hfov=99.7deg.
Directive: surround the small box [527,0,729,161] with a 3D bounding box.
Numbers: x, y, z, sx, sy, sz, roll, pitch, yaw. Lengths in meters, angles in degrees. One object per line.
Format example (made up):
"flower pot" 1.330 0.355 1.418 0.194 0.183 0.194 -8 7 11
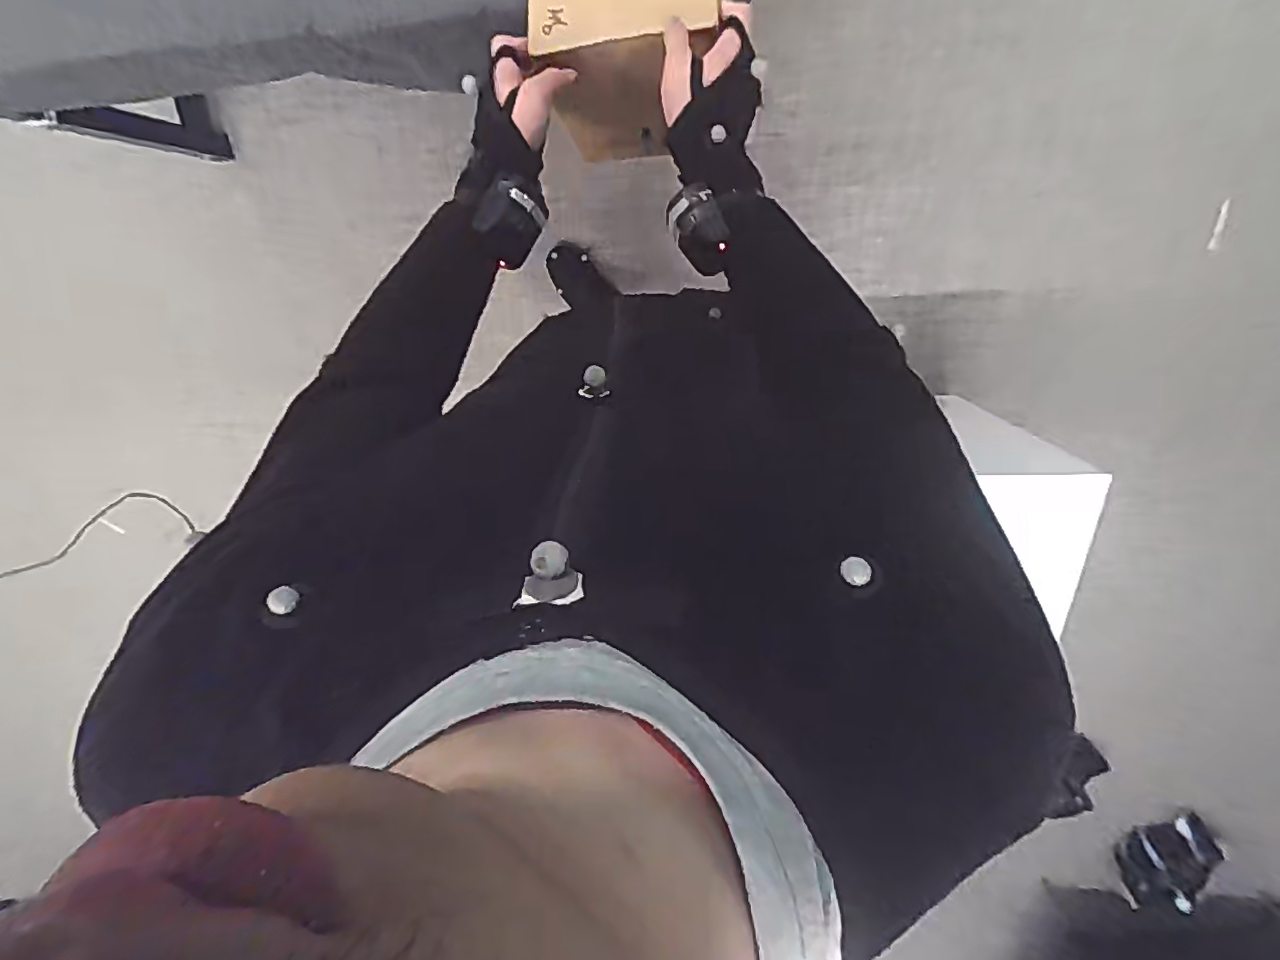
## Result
"small box" 0.000 -0.456 0.545 0.179 0.176 0.168 0 86 11
